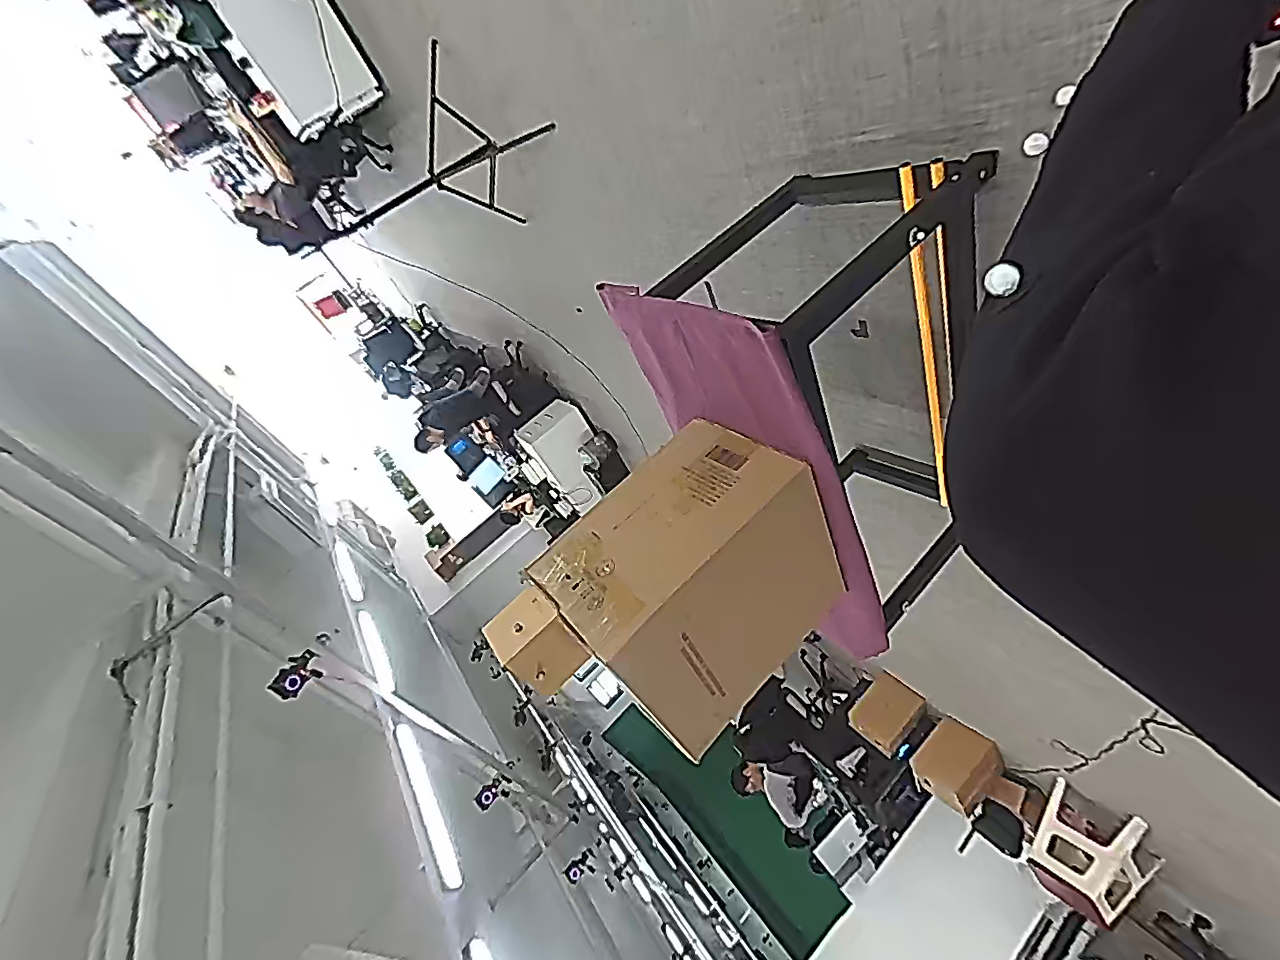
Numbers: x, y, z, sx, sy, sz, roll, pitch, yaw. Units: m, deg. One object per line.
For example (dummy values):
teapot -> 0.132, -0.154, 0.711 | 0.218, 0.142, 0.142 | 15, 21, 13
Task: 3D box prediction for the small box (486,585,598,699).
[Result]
small box -> -0.238, 0.389, 1.325 | 0.168, 0.176, 0.179 | 28, 157, 53
